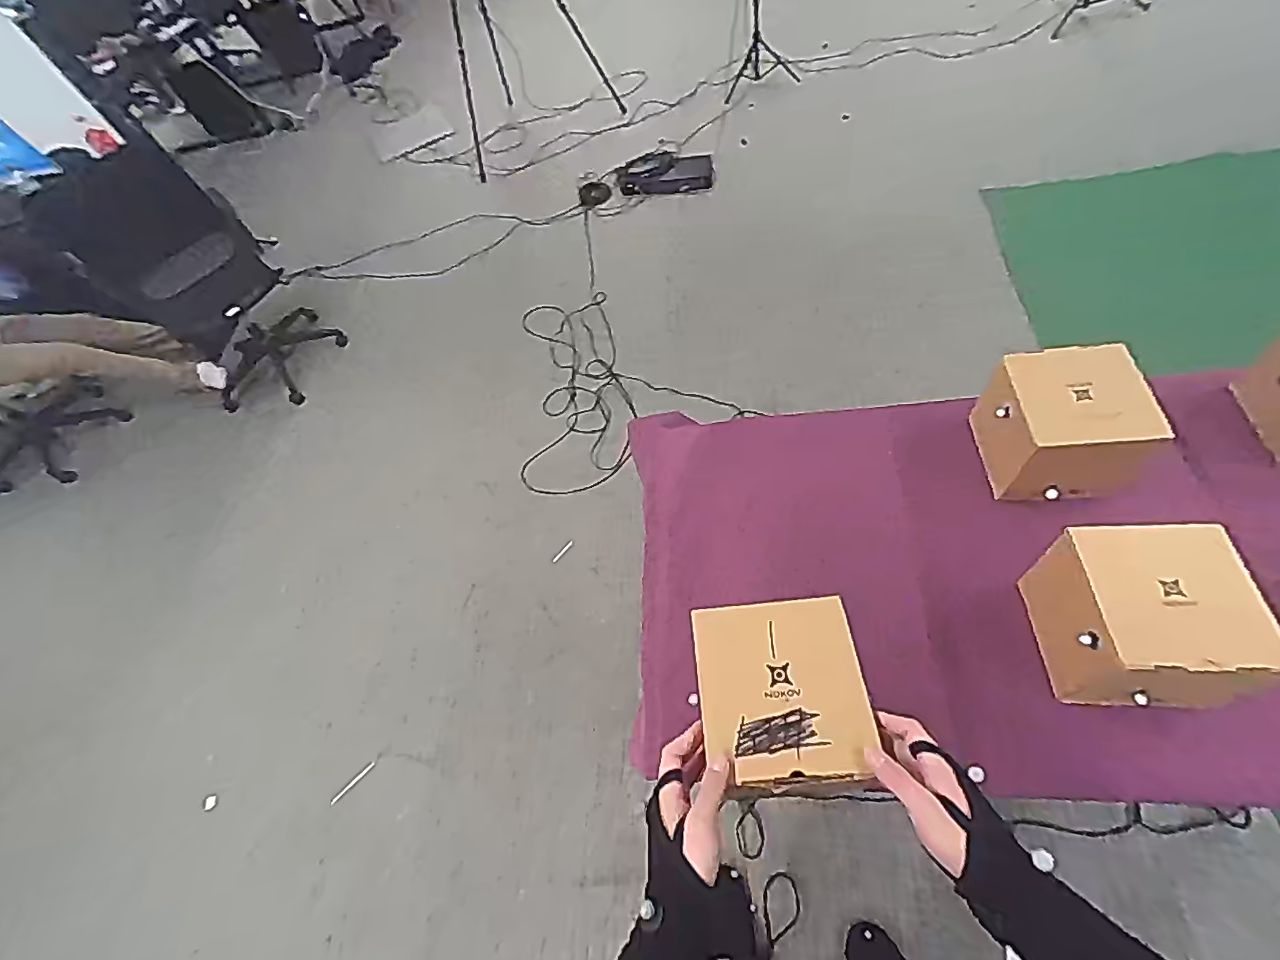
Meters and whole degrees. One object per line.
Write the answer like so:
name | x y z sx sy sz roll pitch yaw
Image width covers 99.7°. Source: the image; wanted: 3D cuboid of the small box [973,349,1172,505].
small box | 0.649 -0.077 0.843 0.168 0.176 0.179 -3 59 12

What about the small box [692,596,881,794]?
small box | 0.153 0.251 0.614 0.168 0.176 0.179 -6 54 6

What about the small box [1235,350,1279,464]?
small box | 1.039 -0.124 0.776 0.168 0.176 0.179 -5 58 13

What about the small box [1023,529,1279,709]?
small box | 0.626 0.177 0.684 0.168 0.176 0.179 -2 57 11
